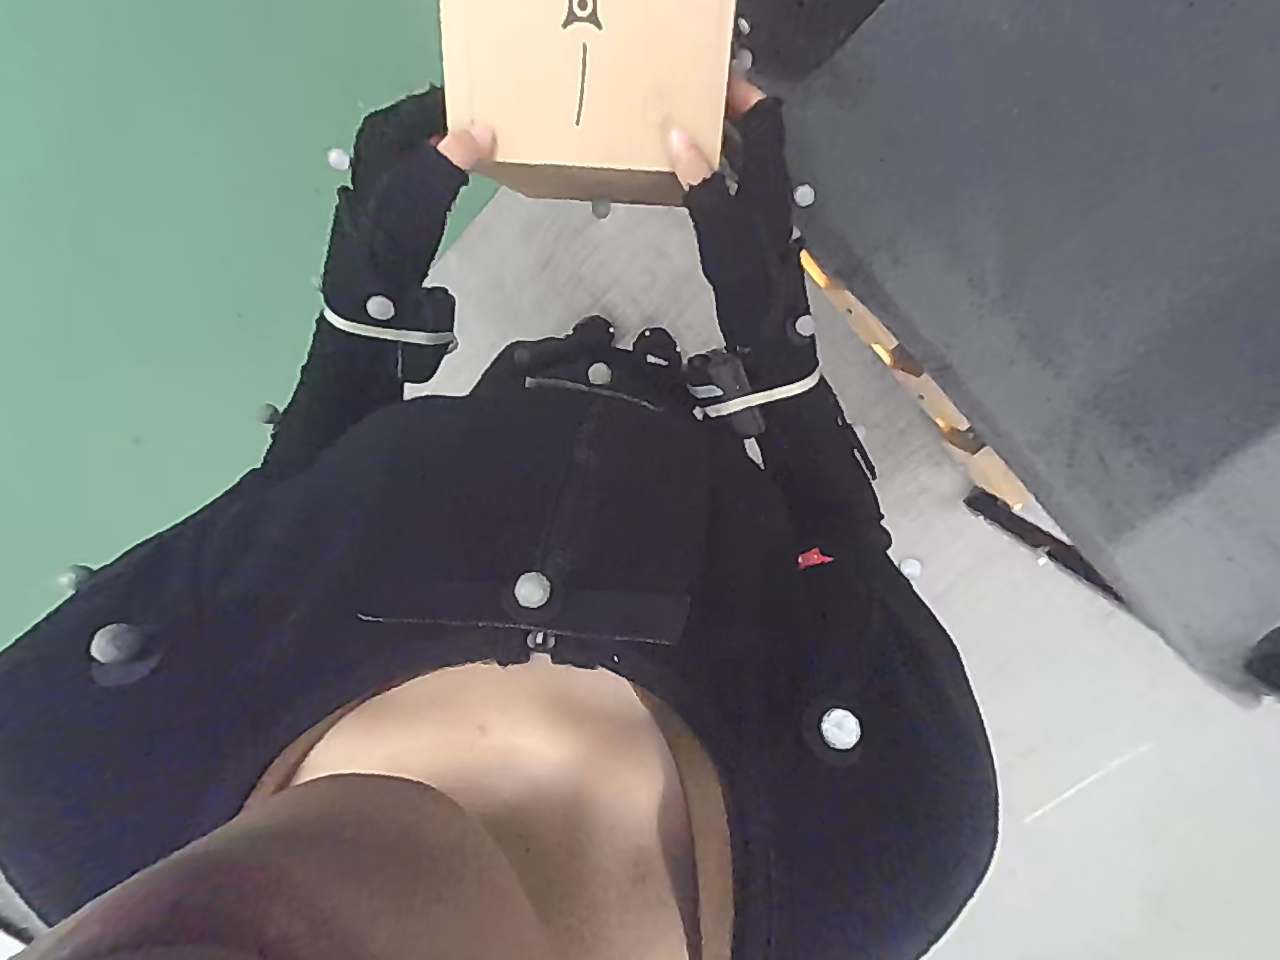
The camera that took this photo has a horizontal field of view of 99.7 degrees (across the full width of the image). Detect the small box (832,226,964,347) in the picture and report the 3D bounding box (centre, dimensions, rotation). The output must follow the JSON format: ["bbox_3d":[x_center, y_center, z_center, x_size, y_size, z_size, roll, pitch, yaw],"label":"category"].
[{"bbox_3d":[0.539,-0.411,1.165,0.179,0.176,0.168,-42,102,14],"label":"small box"}]
